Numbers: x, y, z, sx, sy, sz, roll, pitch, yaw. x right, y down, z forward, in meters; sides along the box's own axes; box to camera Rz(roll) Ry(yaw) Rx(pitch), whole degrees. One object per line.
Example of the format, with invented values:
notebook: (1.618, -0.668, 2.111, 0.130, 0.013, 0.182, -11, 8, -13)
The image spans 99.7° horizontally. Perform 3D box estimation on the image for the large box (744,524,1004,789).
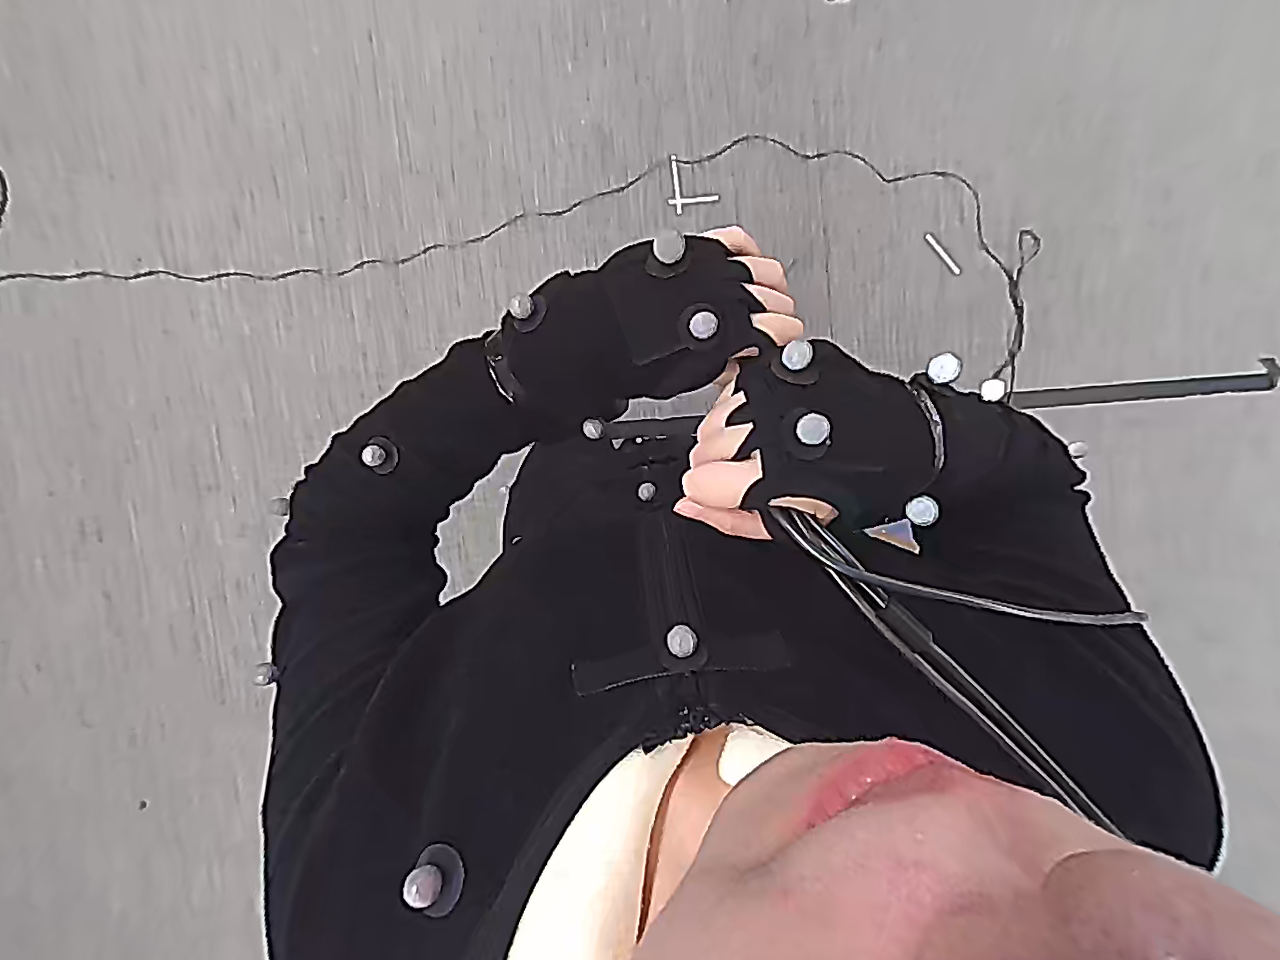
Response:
large box: (0.486, 0.359, 1.201, 0.320, 0.320, 0.408, -29, 95, 1)
